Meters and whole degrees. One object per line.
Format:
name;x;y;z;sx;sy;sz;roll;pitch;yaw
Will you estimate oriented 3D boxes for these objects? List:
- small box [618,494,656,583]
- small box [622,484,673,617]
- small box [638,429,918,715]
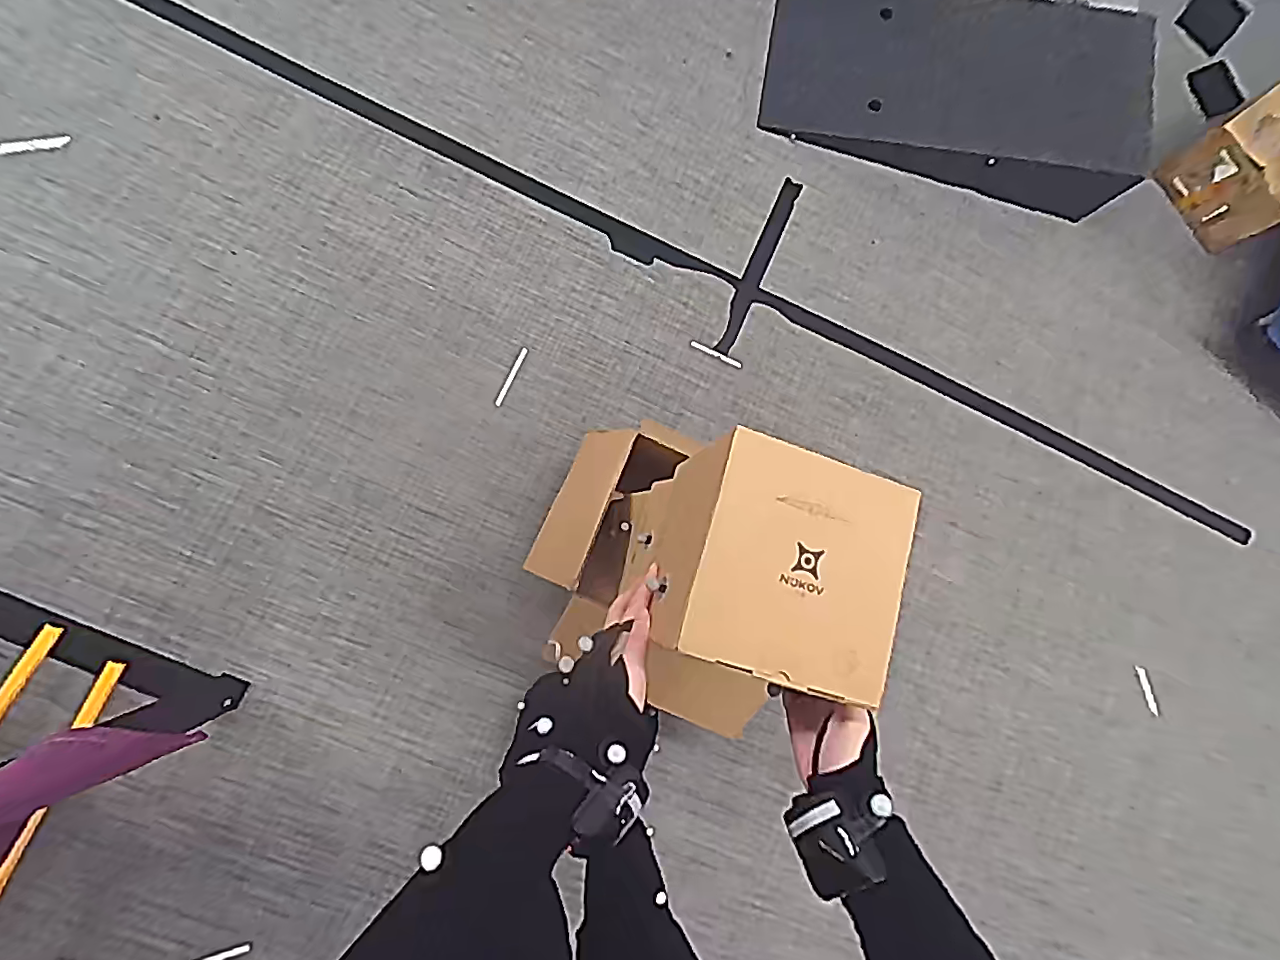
small box;0.060;0.116;0.982;0.179;0.176;0.168;4;86;-12
small box;0.089;0.105;0.652;0.179;0.176;0.168;18;84;-10
small box;0.106;0.080;0.481;0.168;0.176;0.179;19;77;-9
